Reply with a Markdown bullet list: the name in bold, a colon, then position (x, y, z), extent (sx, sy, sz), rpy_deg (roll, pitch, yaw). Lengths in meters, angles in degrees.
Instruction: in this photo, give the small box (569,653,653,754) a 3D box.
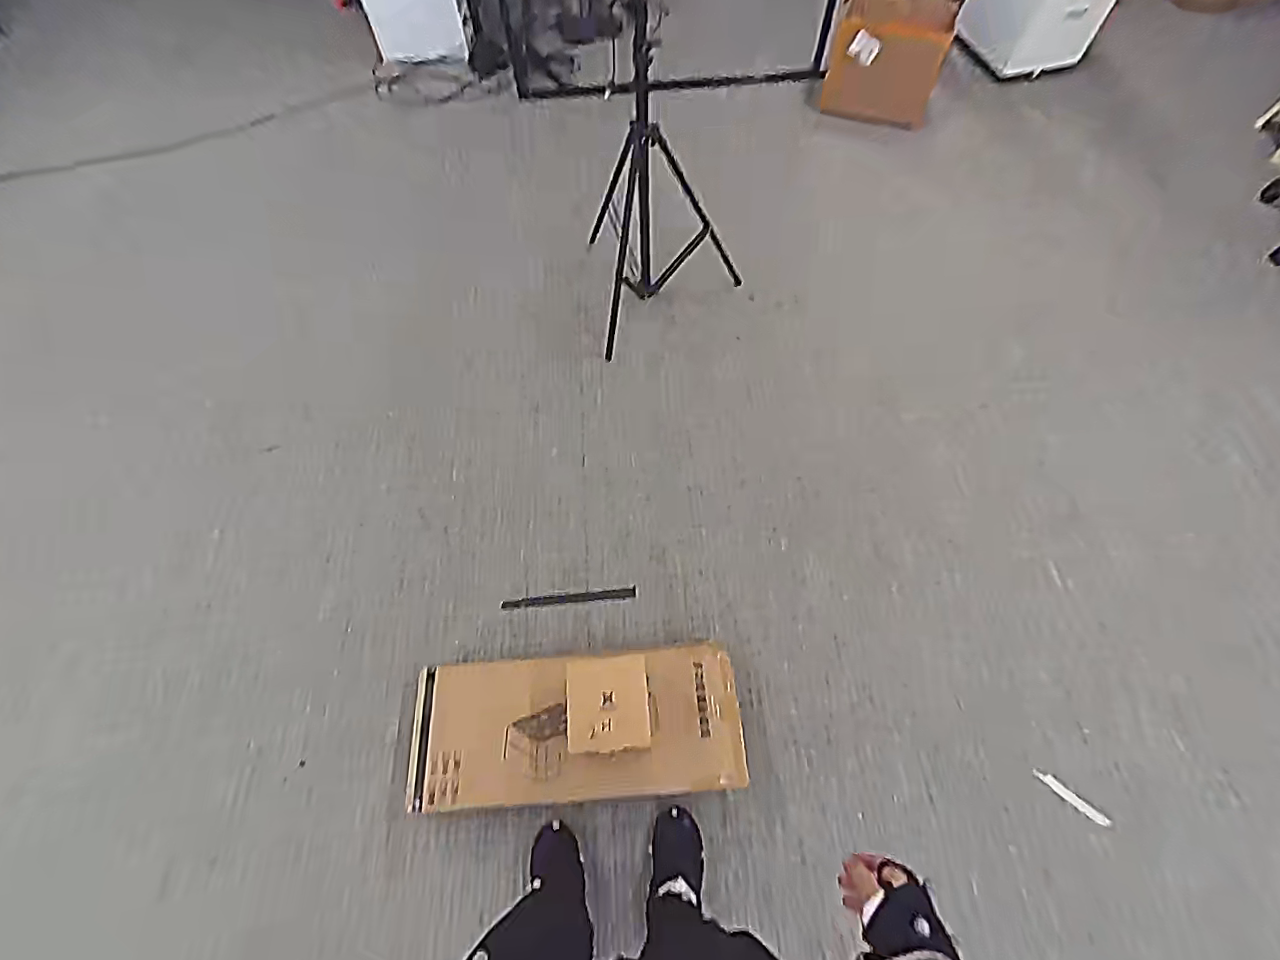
- **small box**: position (-0.061, 0.482, 1.160), extent (0.168, 0.176, 0.179), rpy_deg (-5, 62, 0)
